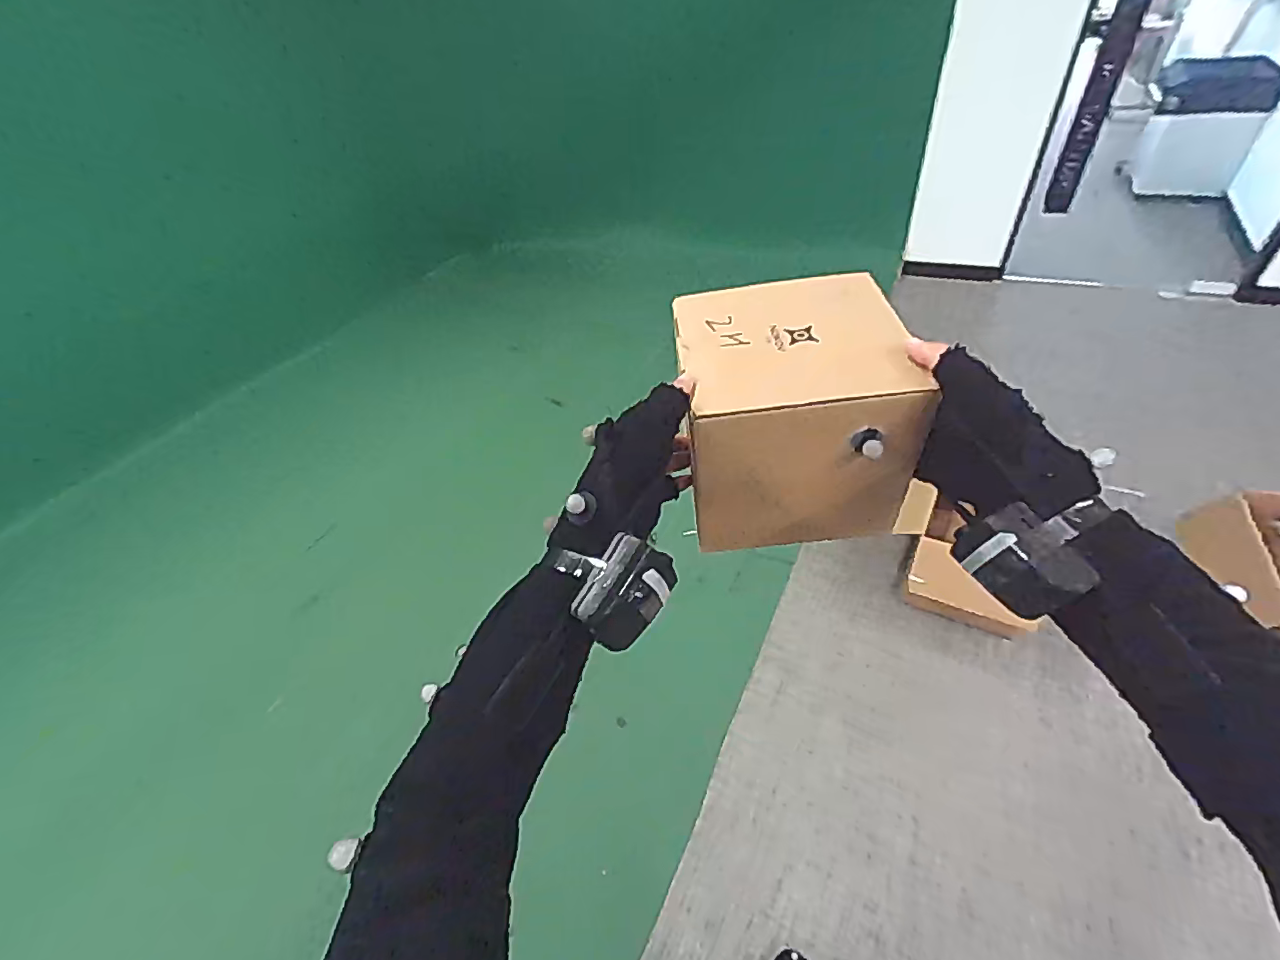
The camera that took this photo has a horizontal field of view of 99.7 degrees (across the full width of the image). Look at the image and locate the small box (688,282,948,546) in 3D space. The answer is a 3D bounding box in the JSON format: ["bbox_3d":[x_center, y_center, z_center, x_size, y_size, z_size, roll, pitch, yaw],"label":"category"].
[{"bbox_3d":[0.139,-0.056,0.496,0.179,0.176,0.168,-6,46,4],"label":"small box"}]

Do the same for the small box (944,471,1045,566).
[{"bbox_3d":[0.967,0.109,1.482,0.179,0.176,0.168,20,50,27],"label":"small box"}]
